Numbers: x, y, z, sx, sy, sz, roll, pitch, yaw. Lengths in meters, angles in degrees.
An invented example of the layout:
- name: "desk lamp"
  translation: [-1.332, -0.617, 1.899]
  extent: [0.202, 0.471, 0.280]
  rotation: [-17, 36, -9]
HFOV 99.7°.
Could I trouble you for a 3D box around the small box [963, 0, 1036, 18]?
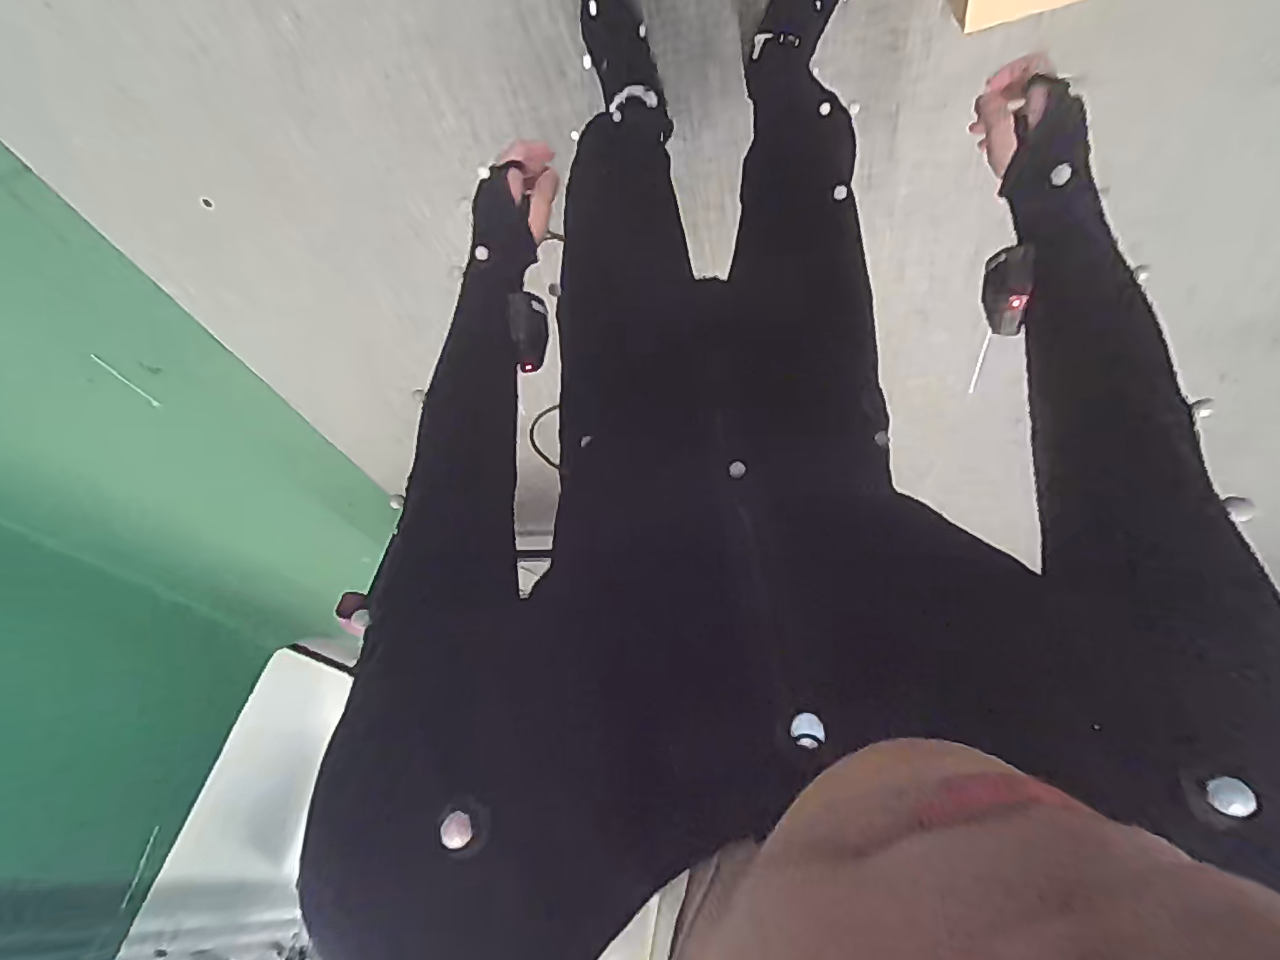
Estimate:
- name: "small box"
  translation: [0.588, -0.849, 0.815]
  extent: [0.179, 0.176, 0.168]
  rotation: [-4, 145, 19]
